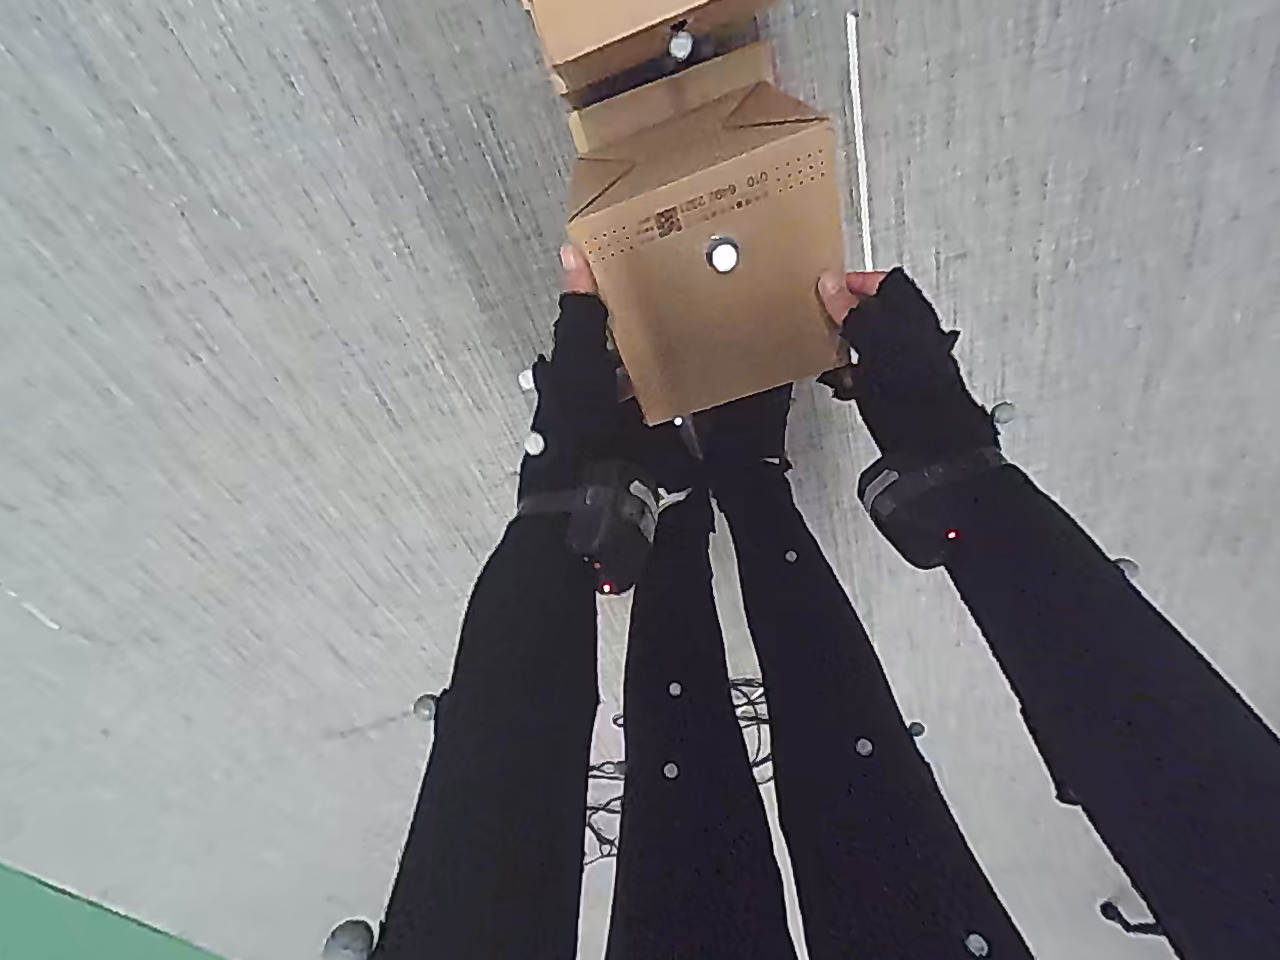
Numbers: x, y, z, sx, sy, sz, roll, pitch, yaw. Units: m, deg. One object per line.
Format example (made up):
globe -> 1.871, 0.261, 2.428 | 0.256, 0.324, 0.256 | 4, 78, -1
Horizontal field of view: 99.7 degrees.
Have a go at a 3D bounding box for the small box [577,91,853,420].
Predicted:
small box -> 0.057, -0.183, 0.432 | 0.168, 0.179, 0.176 | -16, 130, 10

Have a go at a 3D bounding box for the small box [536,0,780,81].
small box -> 0.008, -0.369, 0.325 | 0.179, 0.176, 0.168 | -16, 123, 9
